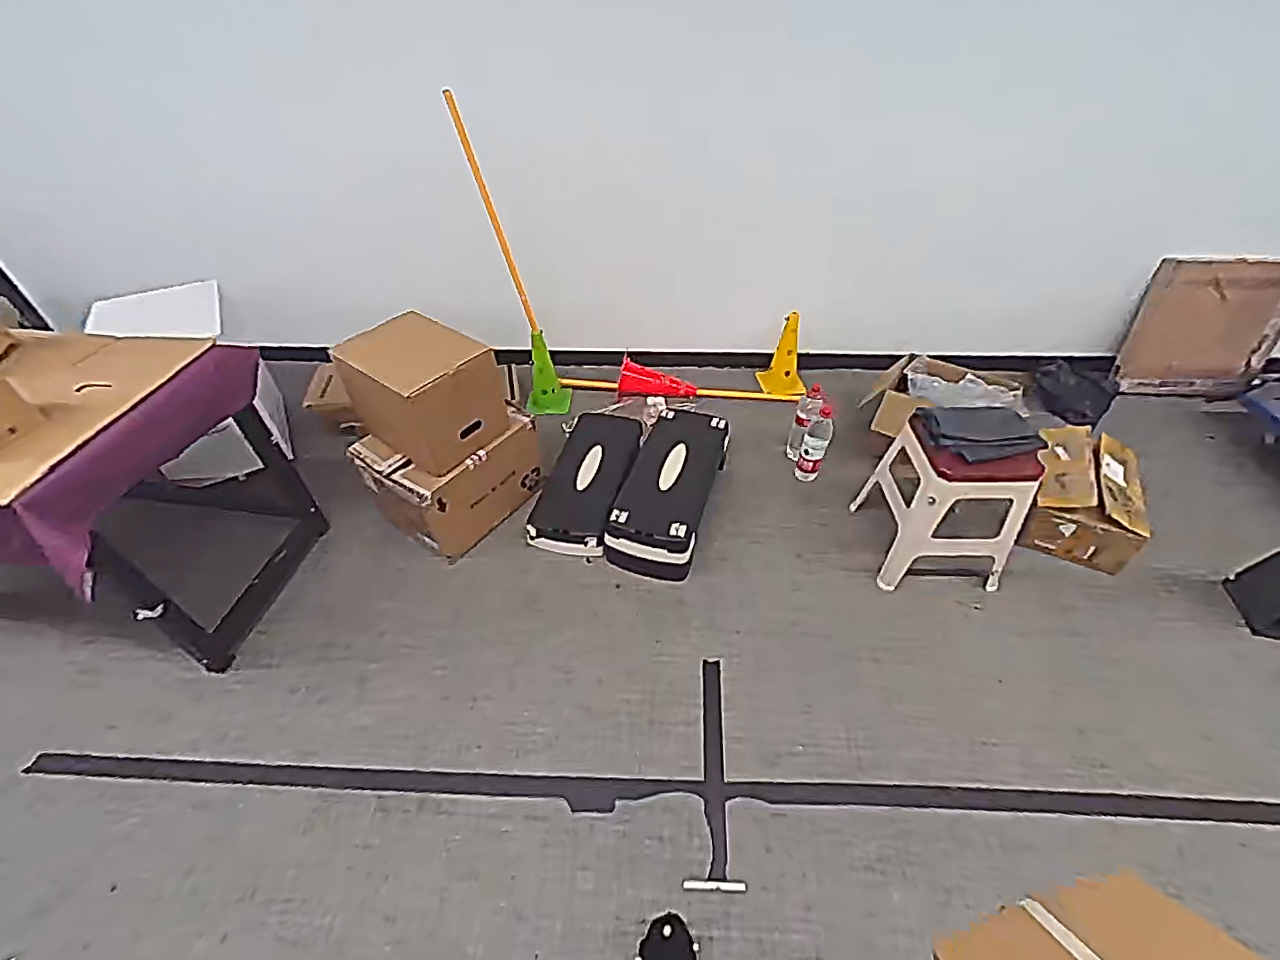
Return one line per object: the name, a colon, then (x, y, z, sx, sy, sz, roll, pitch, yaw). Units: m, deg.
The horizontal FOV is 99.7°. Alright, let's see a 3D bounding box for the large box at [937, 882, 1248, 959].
large box: (0.606, 0.737, 0.559, 0.320, 0.408, 0.320, -17, 84, -3)
